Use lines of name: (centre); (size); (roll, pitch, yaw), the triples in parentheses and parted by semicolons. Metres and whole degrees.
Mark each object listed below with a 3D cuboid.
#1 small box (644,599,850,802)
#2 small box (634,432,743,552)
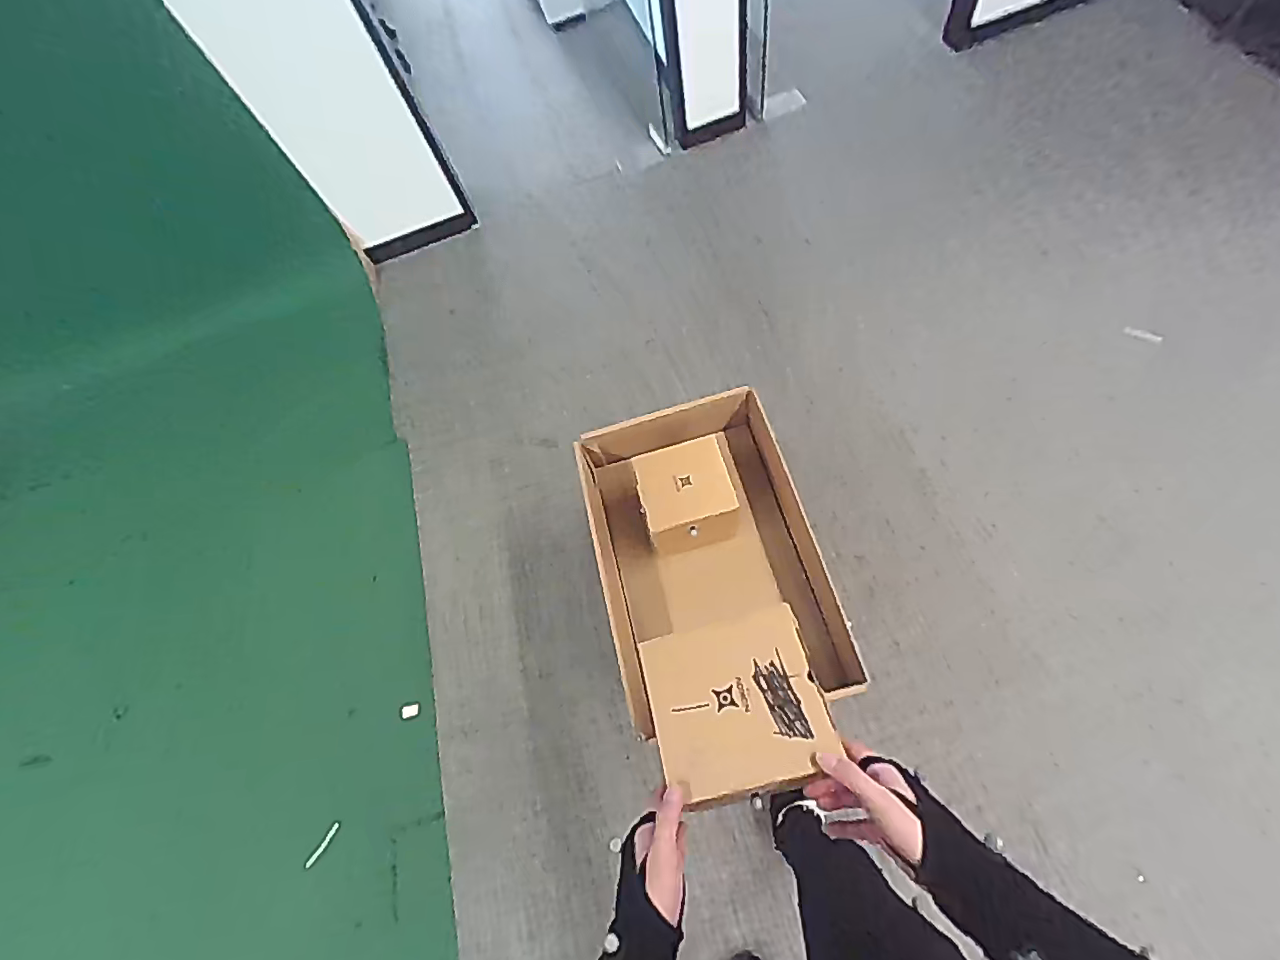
small box: (0.117, 0.260, 0.624); (0.179, 0.176, 0.168); (-16, 55, 4)
small box: (0.100, 0.031, 1.097); (0.179, 0.176, 0.168); (-17, 65, 3)
